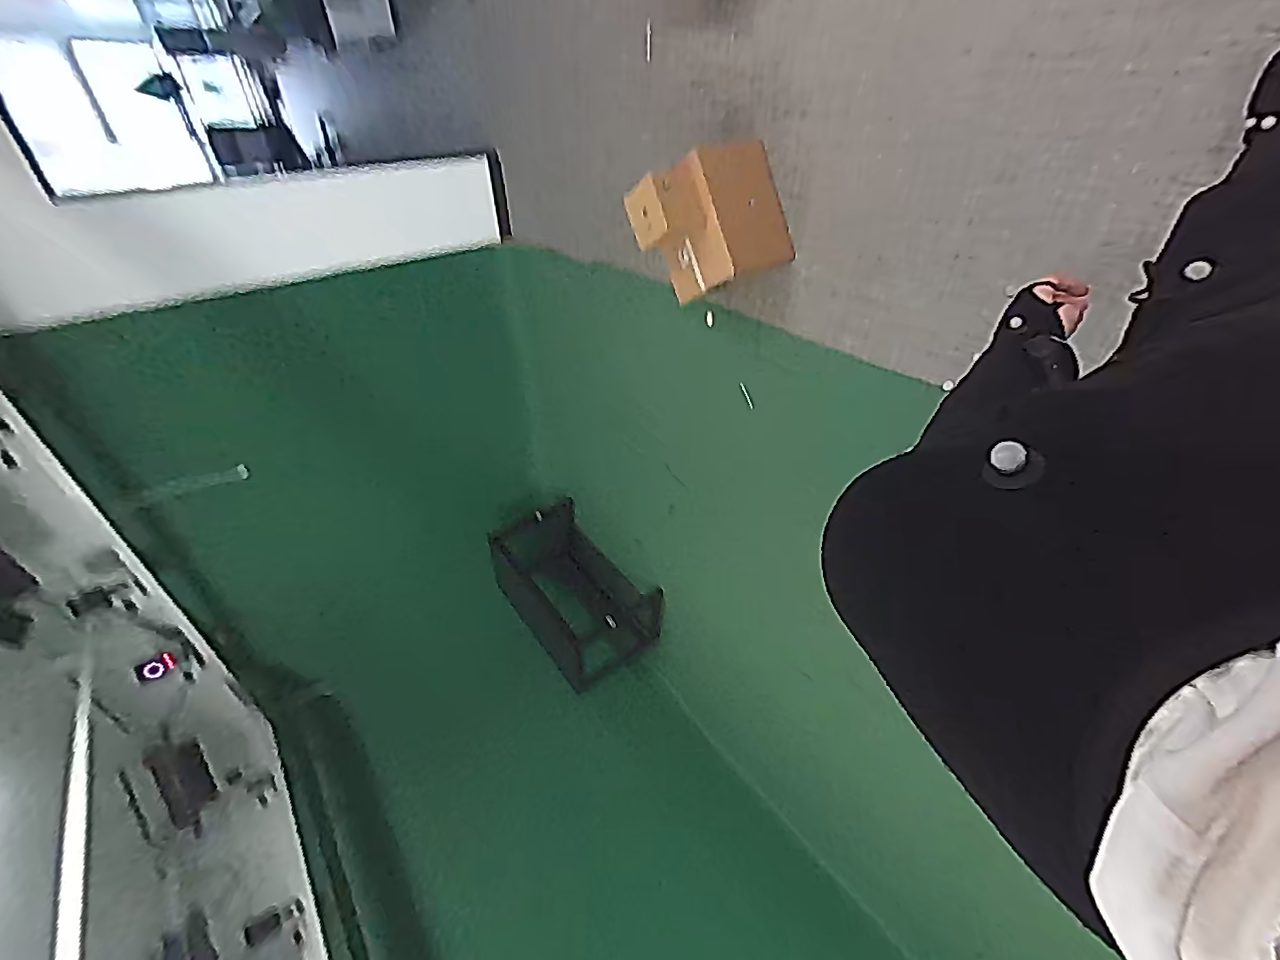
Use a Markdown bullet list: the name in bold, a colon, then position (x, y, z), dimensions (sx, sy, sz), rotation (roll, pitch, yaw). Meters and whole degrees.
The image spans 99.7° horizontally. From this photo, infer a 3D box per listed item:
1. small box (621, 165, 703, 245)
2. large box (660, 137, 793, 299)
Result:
- **small box**: position (0.072, -0.885, 1.738), dimensions (0.168, 0.176, 0.179), rotation (-6, 107, 58)
- **large box**: position (0.274, -0.910, 1.899), dimensions (0.320, 0.320, 0.408), rotation (-4, 109, 60)
